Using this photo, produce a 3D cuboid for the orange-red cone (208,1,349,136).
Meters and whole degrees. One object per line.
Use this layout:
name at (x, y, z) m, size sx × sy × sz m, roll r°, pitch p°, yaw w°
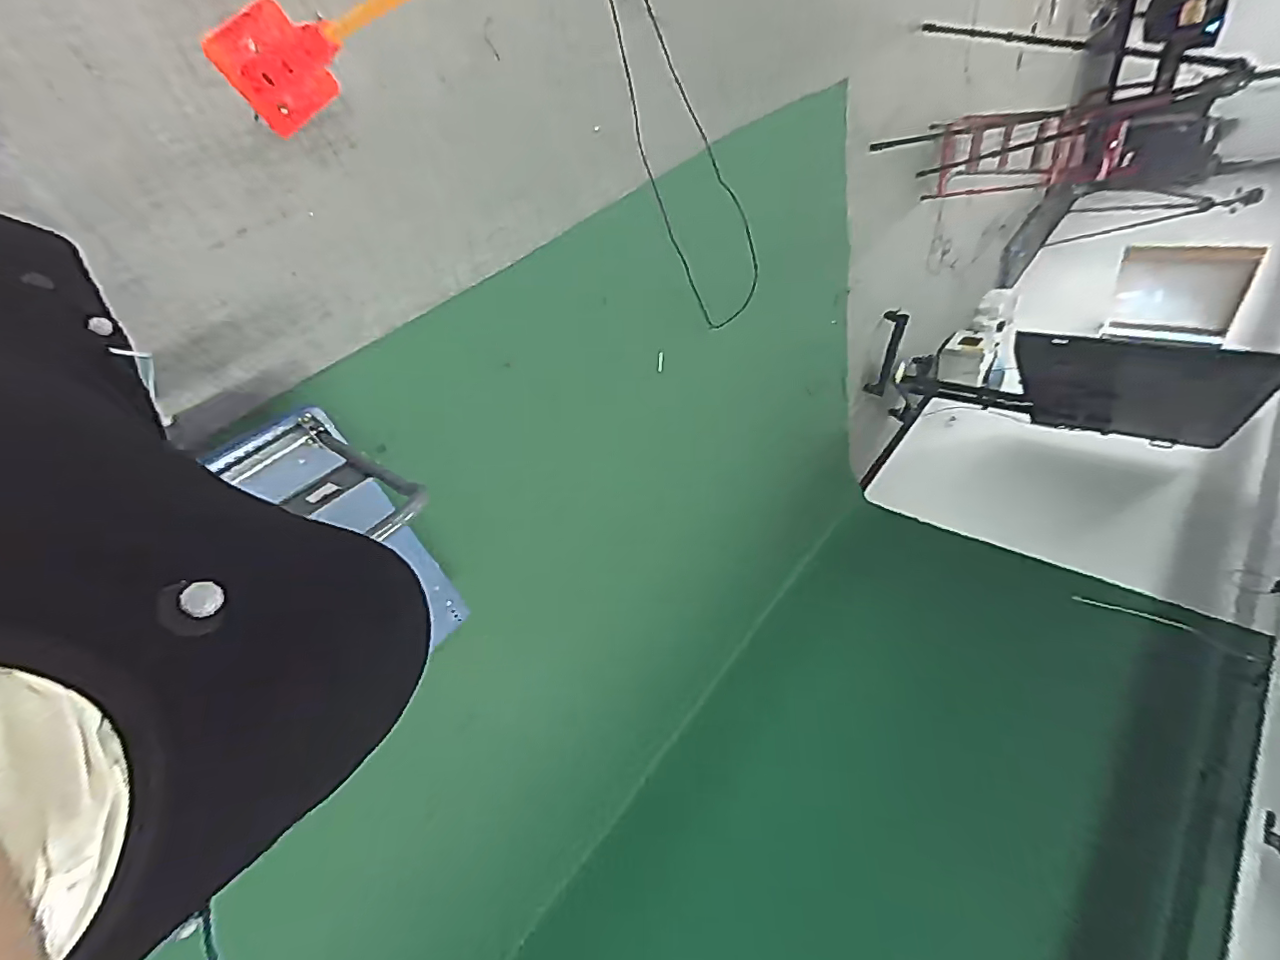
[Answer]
orange-red cone at (-0.680, -0.862, 1.098) m, size 0.199 × 0.360 × 0.198 m, roll -55°, pitch 140°, yaw -17°
